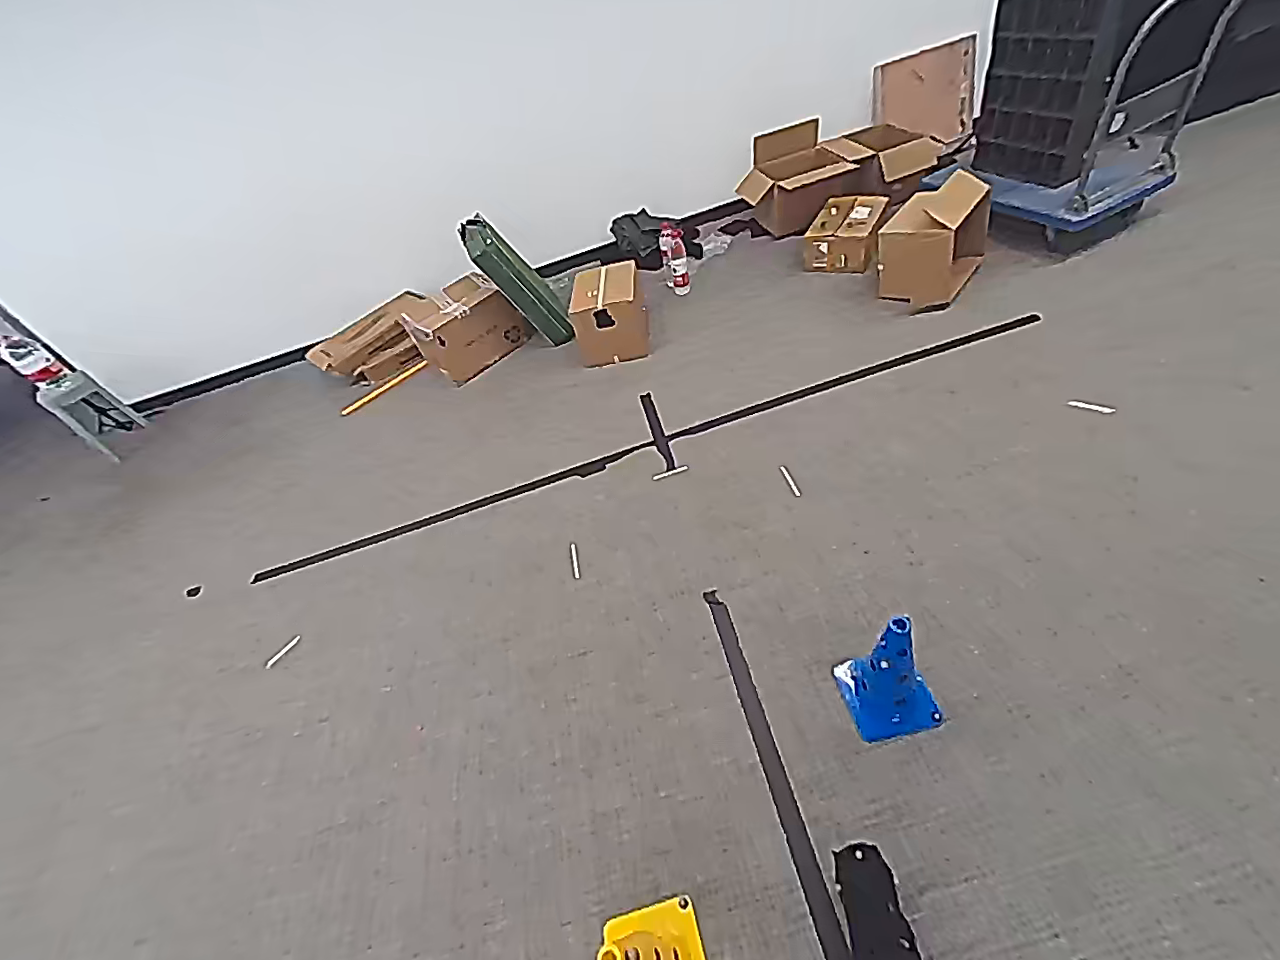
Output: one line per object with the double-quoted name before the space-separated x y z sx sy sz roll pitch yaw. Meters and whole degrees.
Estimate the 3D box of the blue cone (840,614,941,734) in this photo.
"blue cone" 0.579 0.415 1.233 0.192 0.380 0.193 -14 45 4
